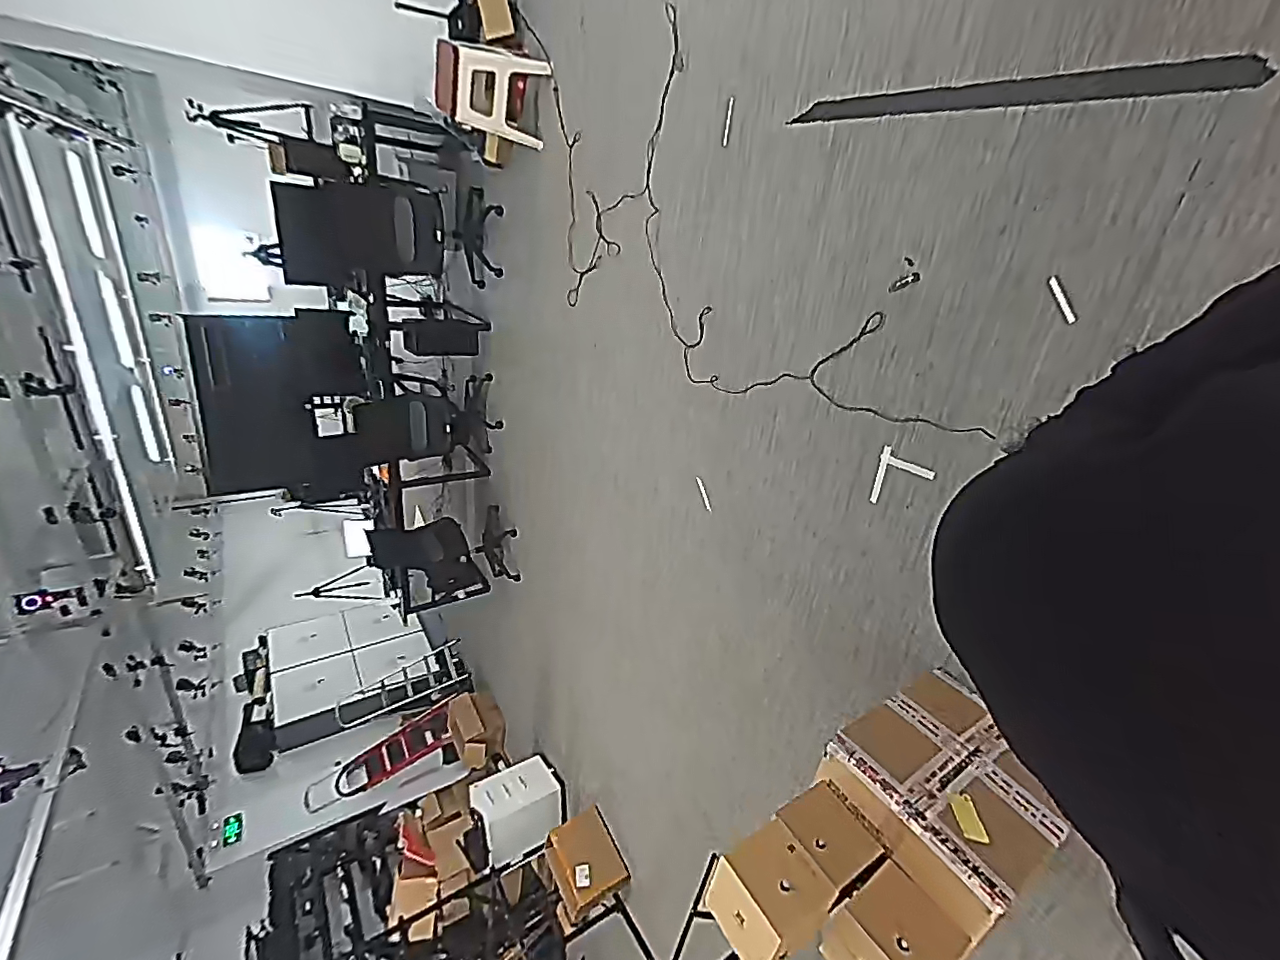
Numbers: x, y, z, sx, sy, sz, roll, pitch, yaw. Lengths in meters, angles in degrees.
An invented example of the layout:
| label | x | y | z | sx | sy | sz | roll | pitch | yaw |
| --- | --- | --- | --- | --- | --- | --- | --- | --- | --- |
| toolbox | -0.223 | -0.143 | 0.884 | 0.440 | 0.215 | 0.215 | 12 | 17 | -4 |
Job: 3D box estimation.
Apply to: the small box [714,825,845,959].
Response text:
| label | x | y | z | sx | sy | sz | roll | pitch | yaw |
| --- | --- | --- | --- | --- | --- | --- | --- | --- | --- |
| small box | 0.278 | 0.841 | 1.079 | 0.168 | 0.176 | 0.179 | 39 | 129 | 46 |
